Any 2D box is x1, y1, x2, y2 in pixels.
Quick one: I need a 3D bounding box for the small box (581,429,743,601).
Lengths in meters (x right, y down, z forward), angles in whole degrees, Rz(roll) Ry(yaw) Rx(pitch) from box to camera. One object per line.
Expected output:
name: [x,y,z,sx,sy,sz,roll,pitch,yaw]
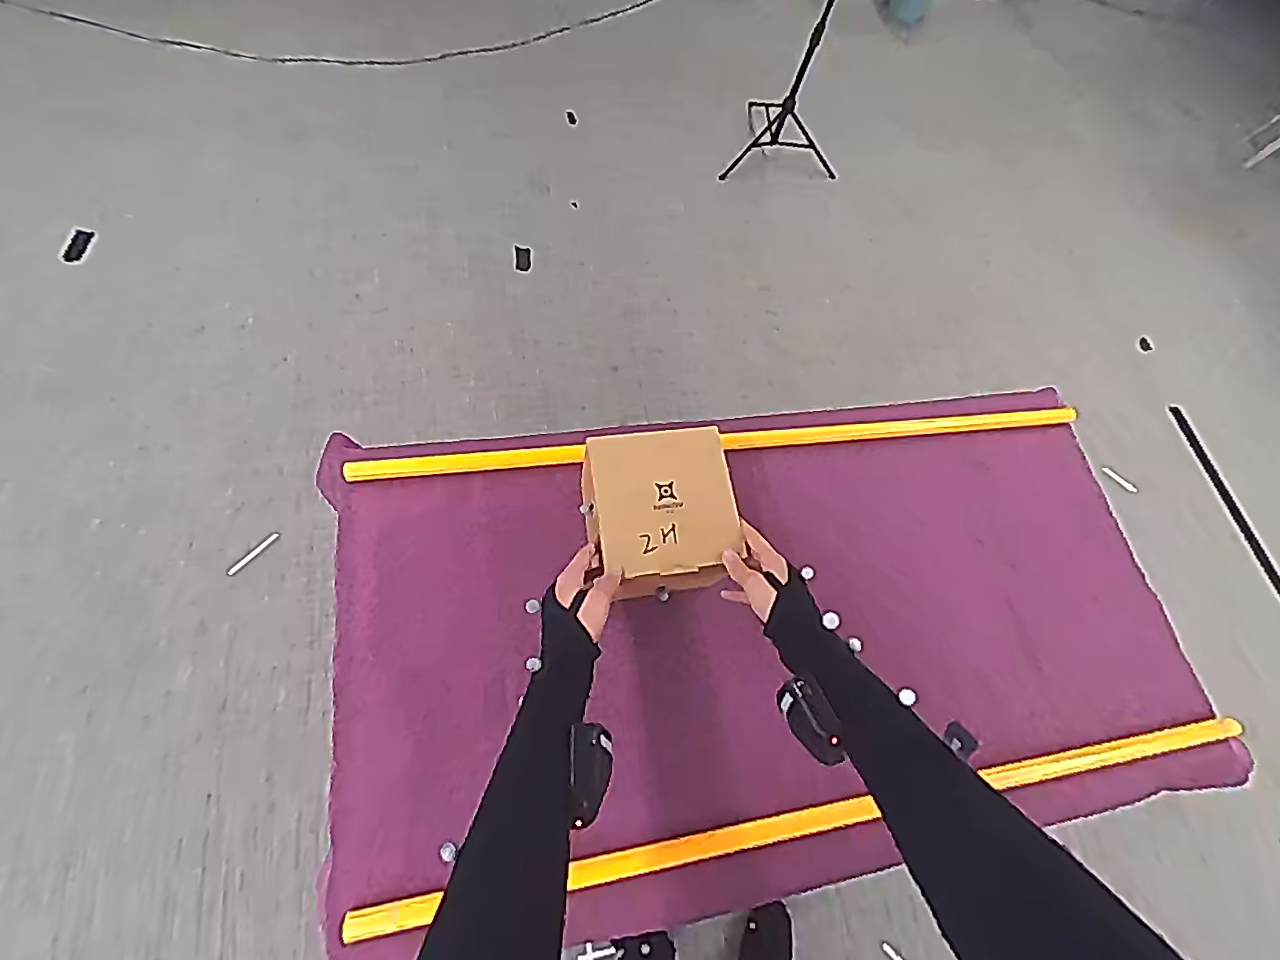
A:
small box: [0.015,0.051,0.706,0.168,0.176,0.179,-6,71,-10]
